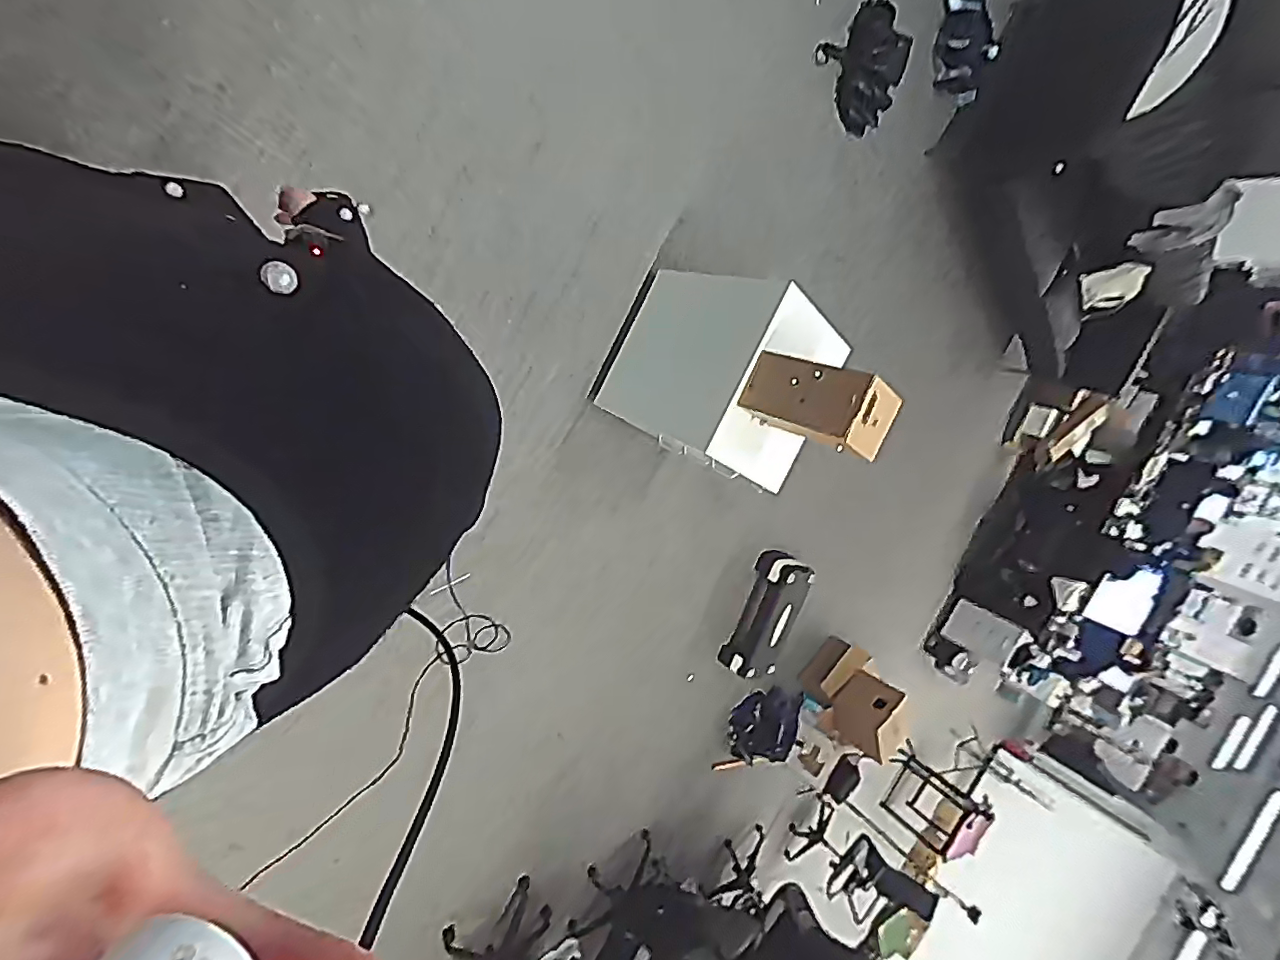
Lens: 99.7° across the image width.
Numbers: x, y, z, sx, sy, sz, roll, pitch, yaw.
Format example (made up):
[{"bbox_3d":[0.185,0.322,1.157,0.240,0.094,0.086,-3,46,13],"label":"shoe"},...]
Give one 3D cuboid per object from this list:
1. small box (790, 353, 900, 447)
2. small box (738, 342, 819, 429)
[{"bbox_3d":[0.499,-0.201,1.330,0.179,0.176,0.168,19,97,-46],"label":"small box"},{"bbox_3d":[0.397,-0.255,1.446,0.179,0.176,0.168,18,97,-45],"label":"small box"}]
